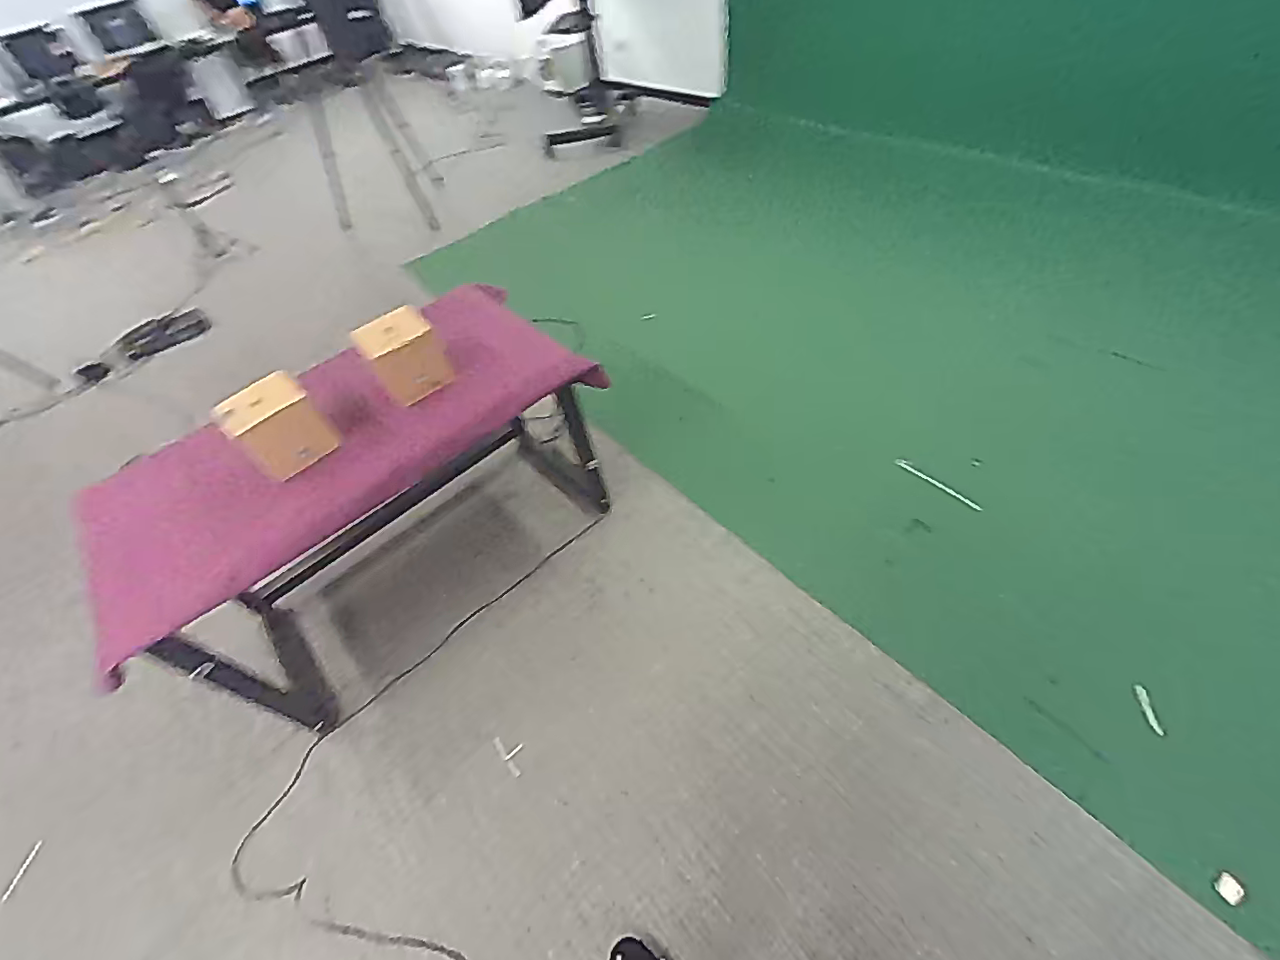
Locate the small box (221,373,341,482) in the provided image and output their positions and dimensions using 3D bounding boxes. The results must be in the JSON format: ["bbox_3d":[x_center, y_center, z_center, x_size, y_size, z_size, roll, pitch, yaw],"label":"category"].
[{"bbox_3d":[-0.883,-0.131,1.349,0.179,0.176,0.168,-40,55,-22],"label":"small box"}]

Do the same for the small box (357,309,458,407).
[{"bbox_3d":[-0.626,-0.329,1.468,0.168,0.176,0.179,-35,53,-18],"label":"small box"}]
